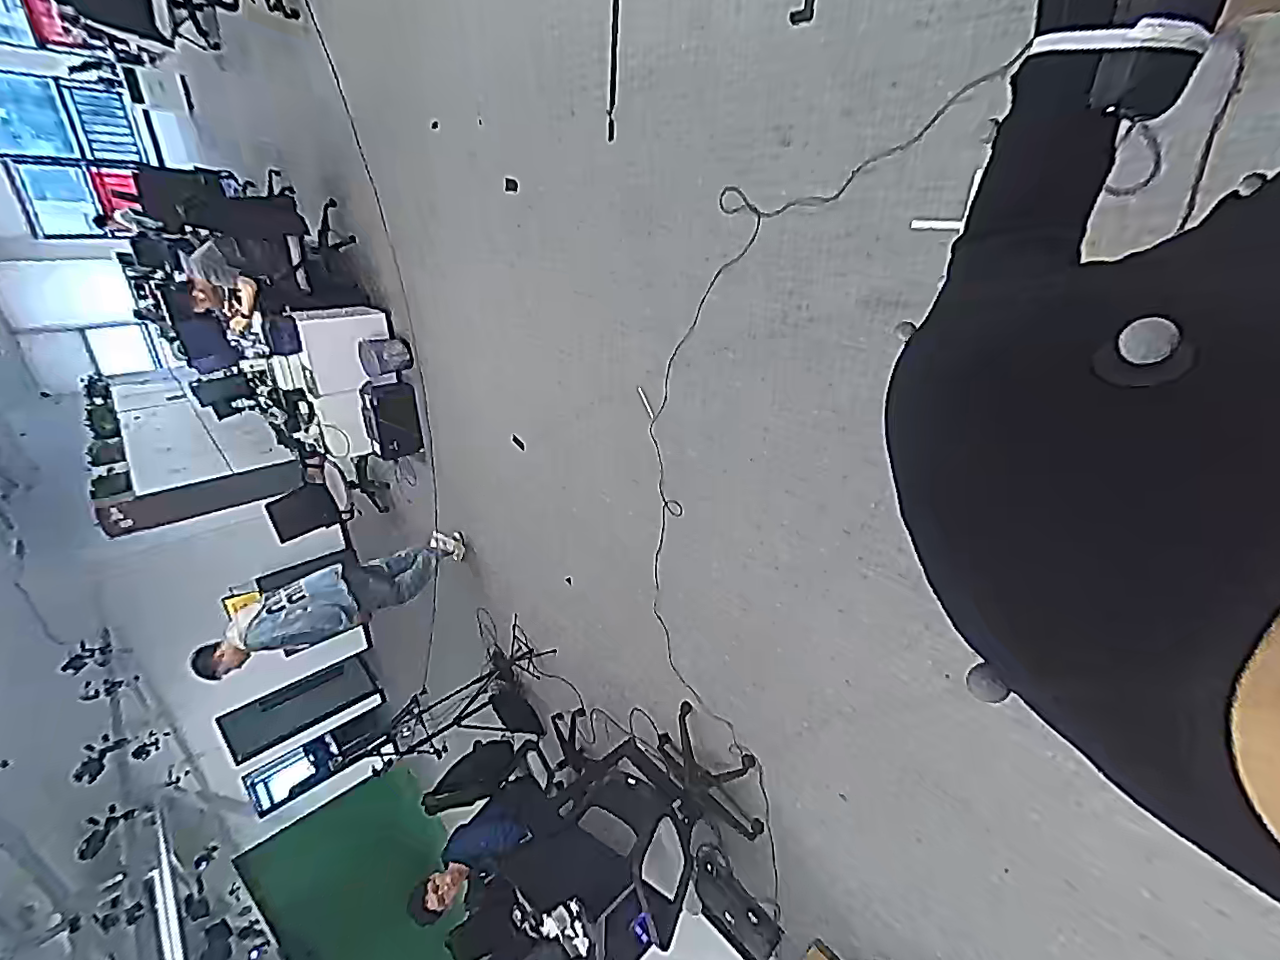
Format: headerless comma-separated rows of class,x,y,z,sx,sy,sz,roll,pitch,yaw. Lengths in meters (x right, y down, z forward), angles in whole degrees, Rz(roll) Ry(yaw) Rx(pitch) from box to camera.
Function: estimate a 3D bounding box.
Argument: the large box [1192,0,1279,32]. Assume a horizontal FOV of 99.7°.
large box,0.551,-0.429,0.215,0.408,0.320,0.320,23,129,36
